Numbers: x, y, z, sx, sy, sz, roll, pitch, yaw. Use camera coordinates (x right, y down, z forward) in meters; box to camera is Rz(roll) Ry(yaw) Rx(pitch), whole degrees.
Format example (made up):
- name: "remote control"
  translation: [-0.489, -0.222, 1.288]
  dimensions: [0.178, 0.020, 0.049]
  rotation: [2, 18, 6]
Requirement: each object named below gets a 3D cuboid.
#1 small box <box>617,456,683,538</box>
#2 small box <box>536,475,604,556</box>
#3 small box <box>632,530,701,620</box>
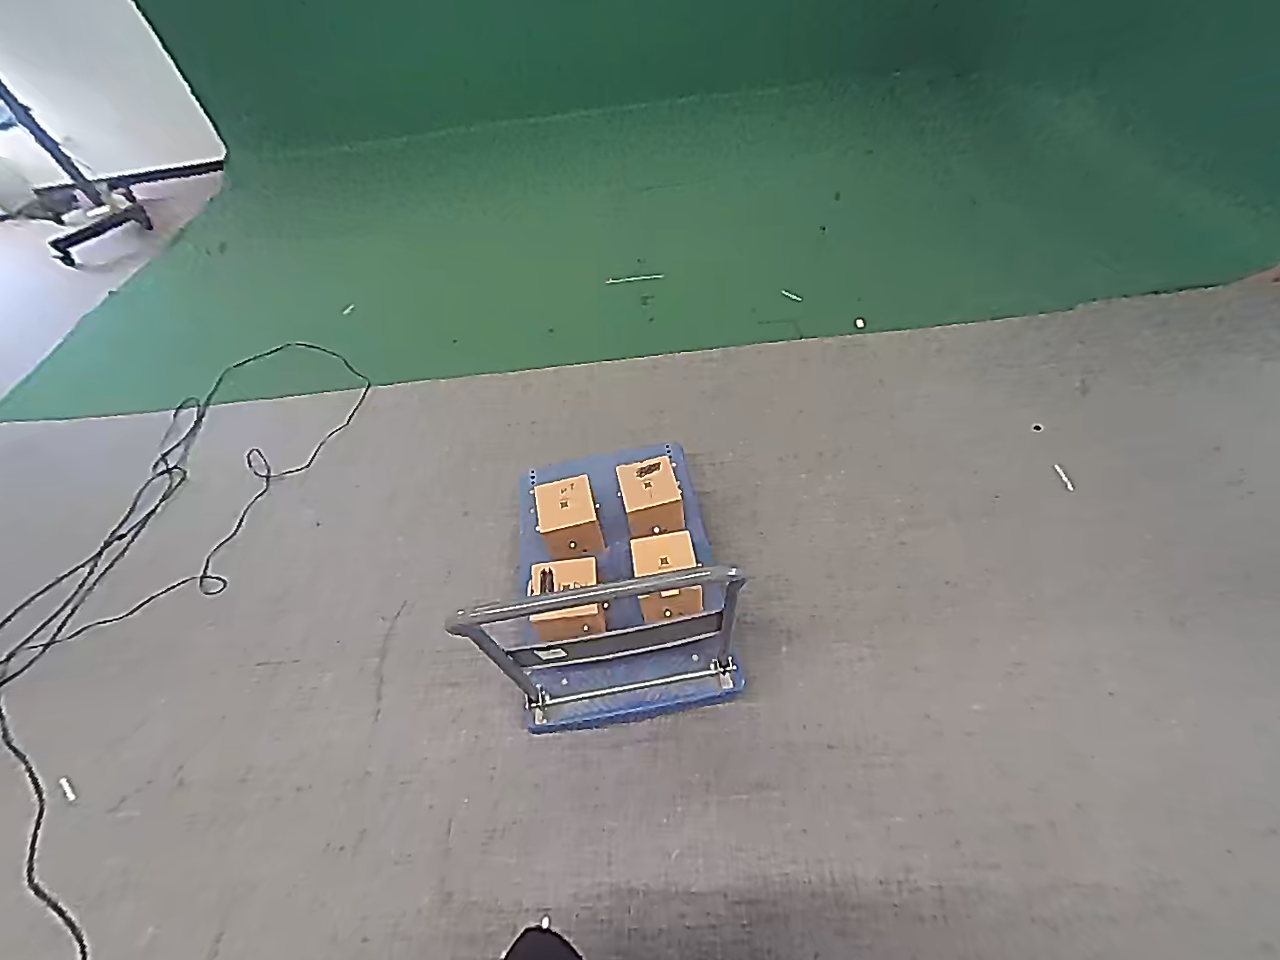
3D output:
- name: "small box"
  translation: [0.032, 0.056, 1.672]
  dimensions: [0.168, 0.176, 0.179]
  rotation: [-14, 53, -2]
- name: "small box"
  translation: [-0.212, 0.116, 1.660]
  dimensions: [0.168, 0.176, 0.179]
  rotation: [-13, 52, -3]
- name: "small box"
  translation: [0.073, 0.266, 1.507]
  dimensions: [0.168, 0.176, 0.179]
  rotation: [-10, 52, 0]
